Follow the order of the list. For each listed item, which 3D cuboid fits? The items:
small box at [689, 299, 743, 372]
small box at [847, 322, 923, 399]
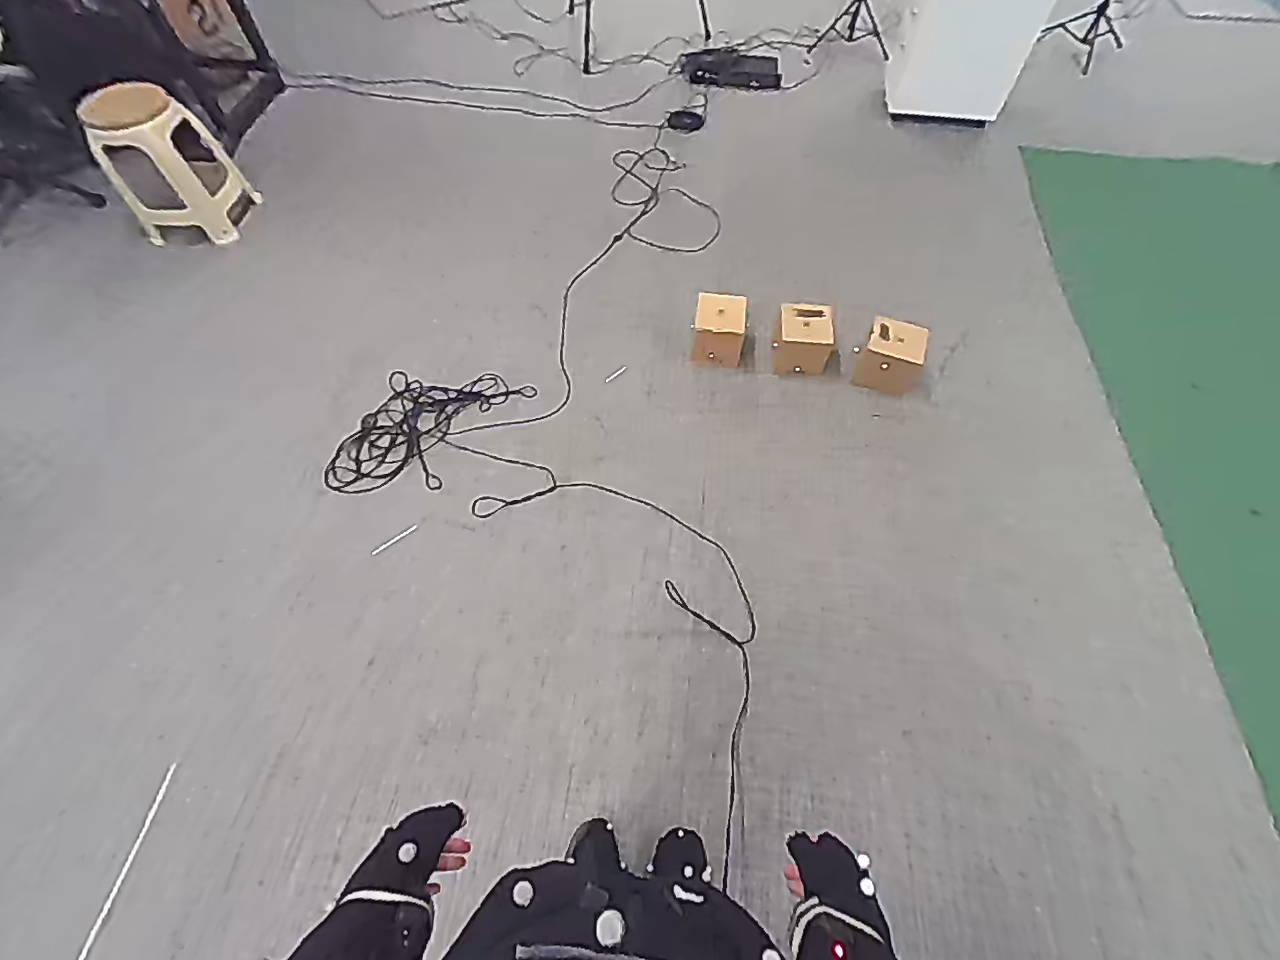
[{"bbox_3d":[0.263,-0.503,1.888,0.168,0.176,0.179,6,60,4],"label":"small box"},{"bbox_3d":[0.820,-0.399,1.825,0.179,0.176,0.168,19,61,10],"label":"small box"}]
